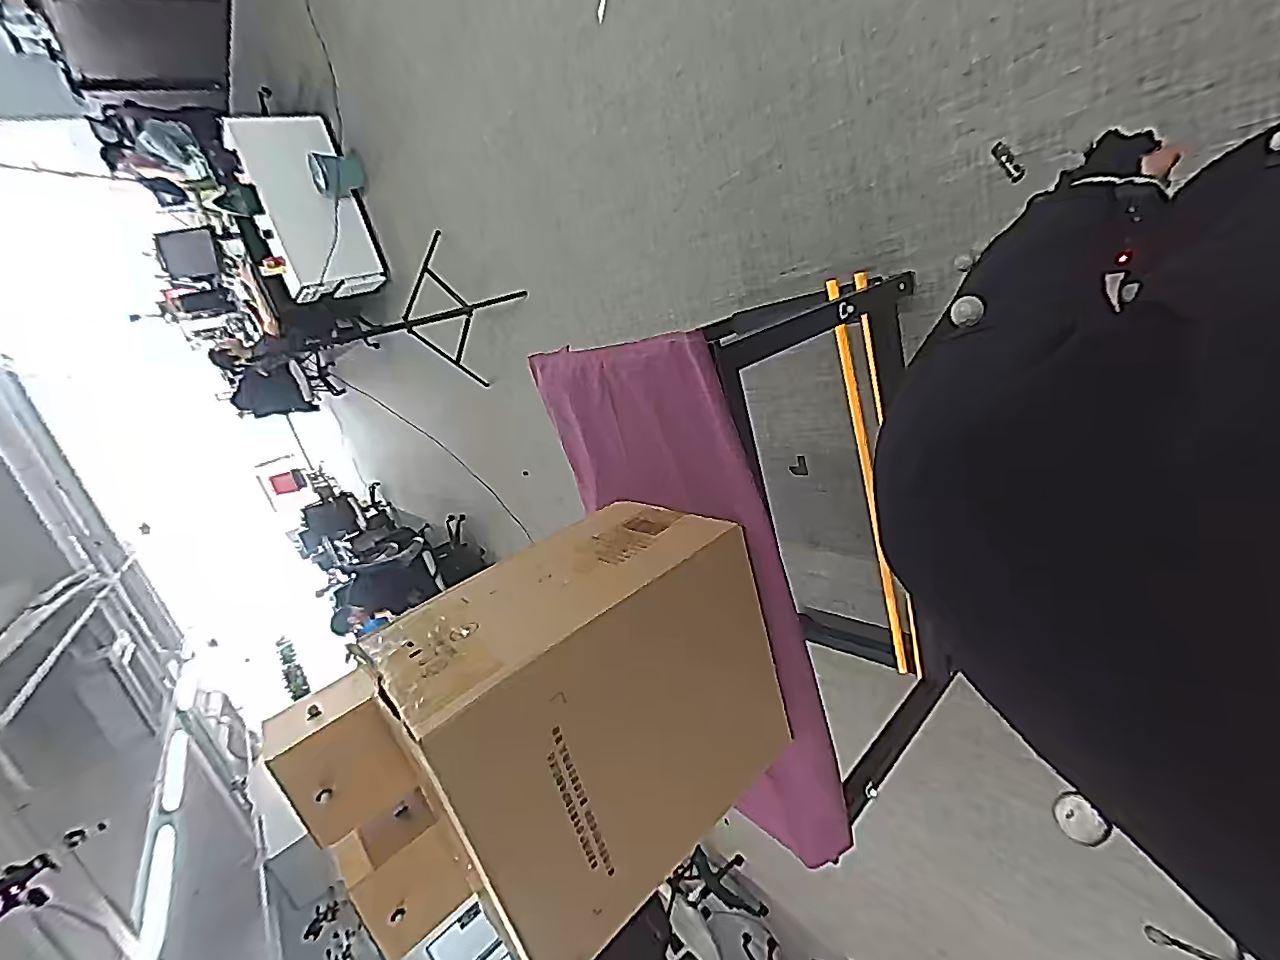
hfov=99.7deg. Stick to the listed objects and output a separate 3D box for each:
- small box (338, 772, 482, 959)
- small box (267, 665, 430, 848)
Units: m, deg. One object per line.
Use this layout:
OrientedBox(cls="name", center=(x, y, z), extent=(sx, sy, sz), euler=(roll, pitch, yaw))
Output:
OrientedBox(cls="small box", center=(-0.402, 0.662, 0.949), extent=(0.168, 0.176, 0.179), euler=(4, 115, 51))
OrientedBox(cls="small box", center=(-0.476, 0.437, 0.889), extent=(0.168, 0.176, 0.179), euler=(-1, 115, 54))
